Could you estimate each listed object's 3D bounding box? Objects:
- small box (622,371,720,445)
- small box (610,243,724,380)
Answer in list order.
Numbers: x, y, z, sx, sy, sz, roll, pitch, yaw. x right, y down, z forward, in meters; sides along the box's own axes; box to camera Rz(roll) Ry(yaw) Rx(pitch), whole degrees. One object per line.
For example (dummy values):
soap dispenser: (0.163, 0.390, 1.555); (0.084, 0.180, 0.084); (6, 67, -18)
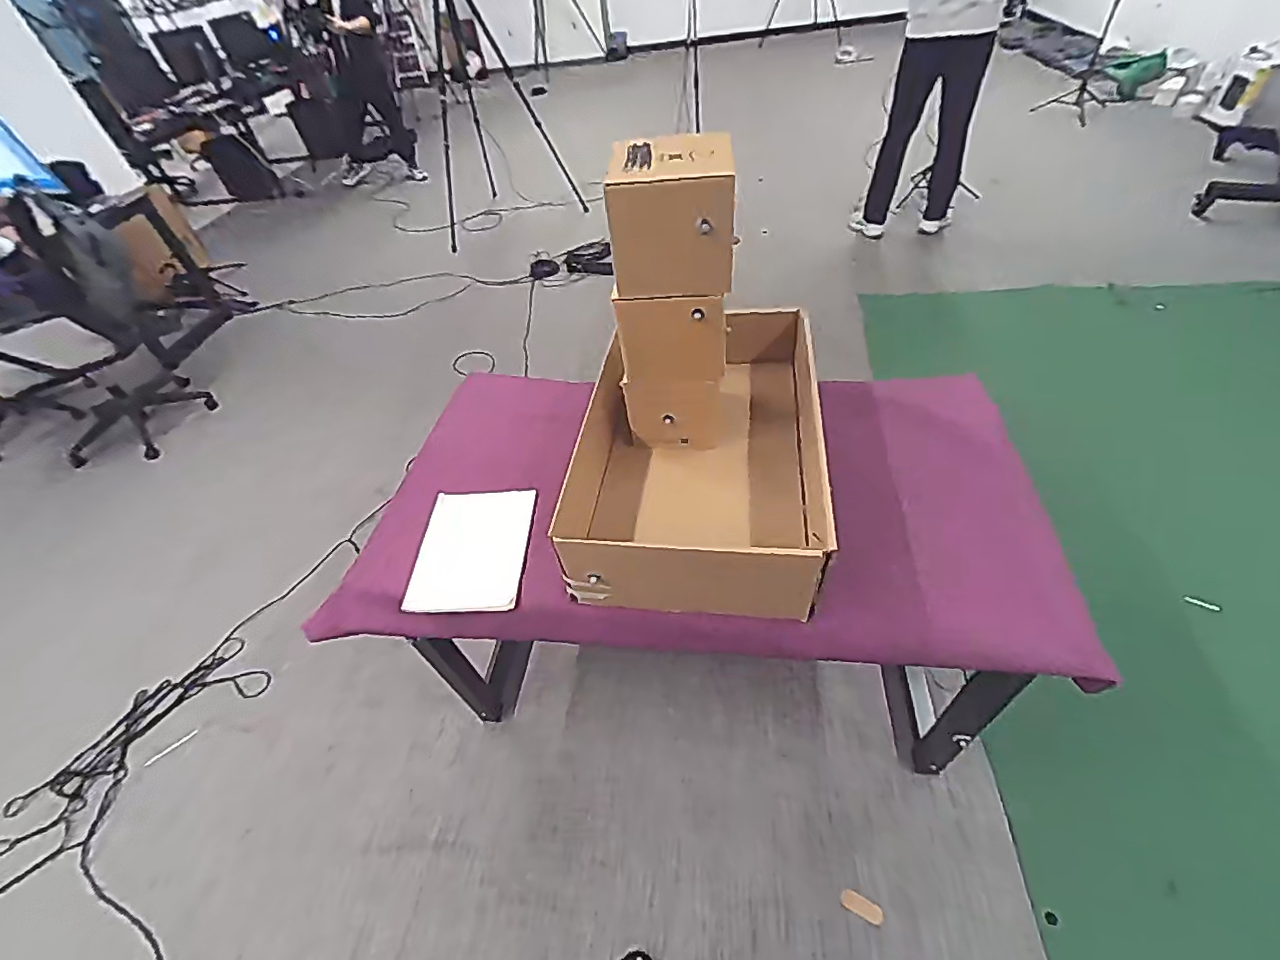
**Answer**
small box: (0.069, -0.183, 1.058); (0.168, 0.176, 0.179); (2, 50, 10)
small box: (0.055, -0.287, 0.935); (0.179, 0.176, 0.168); (0, 49, 9)
